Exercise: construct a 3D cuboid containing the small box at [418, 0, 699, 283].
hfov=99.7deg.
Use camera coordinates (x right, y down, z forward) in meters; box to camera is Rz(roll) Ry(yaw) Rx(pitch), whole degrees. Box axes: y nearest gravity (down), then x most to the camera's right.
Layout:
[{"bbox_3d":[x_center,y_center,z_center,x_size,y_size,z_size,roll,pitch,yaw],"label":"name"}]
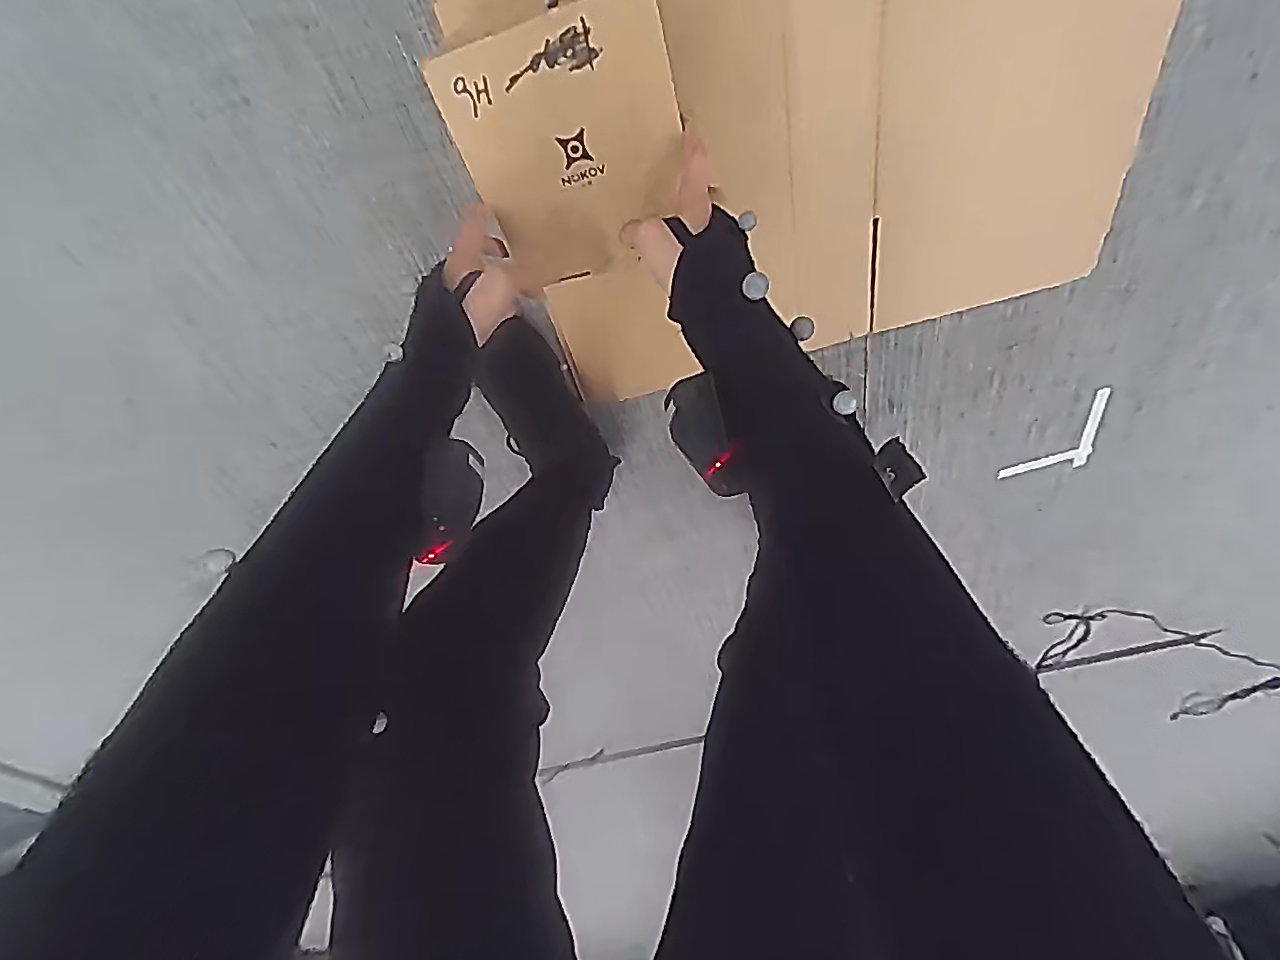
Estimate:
[{"bbox_3d":[-0.051,-0.305,0.460,0.168,0.176,0.179,-13,137,10],"label":"small box"}]
